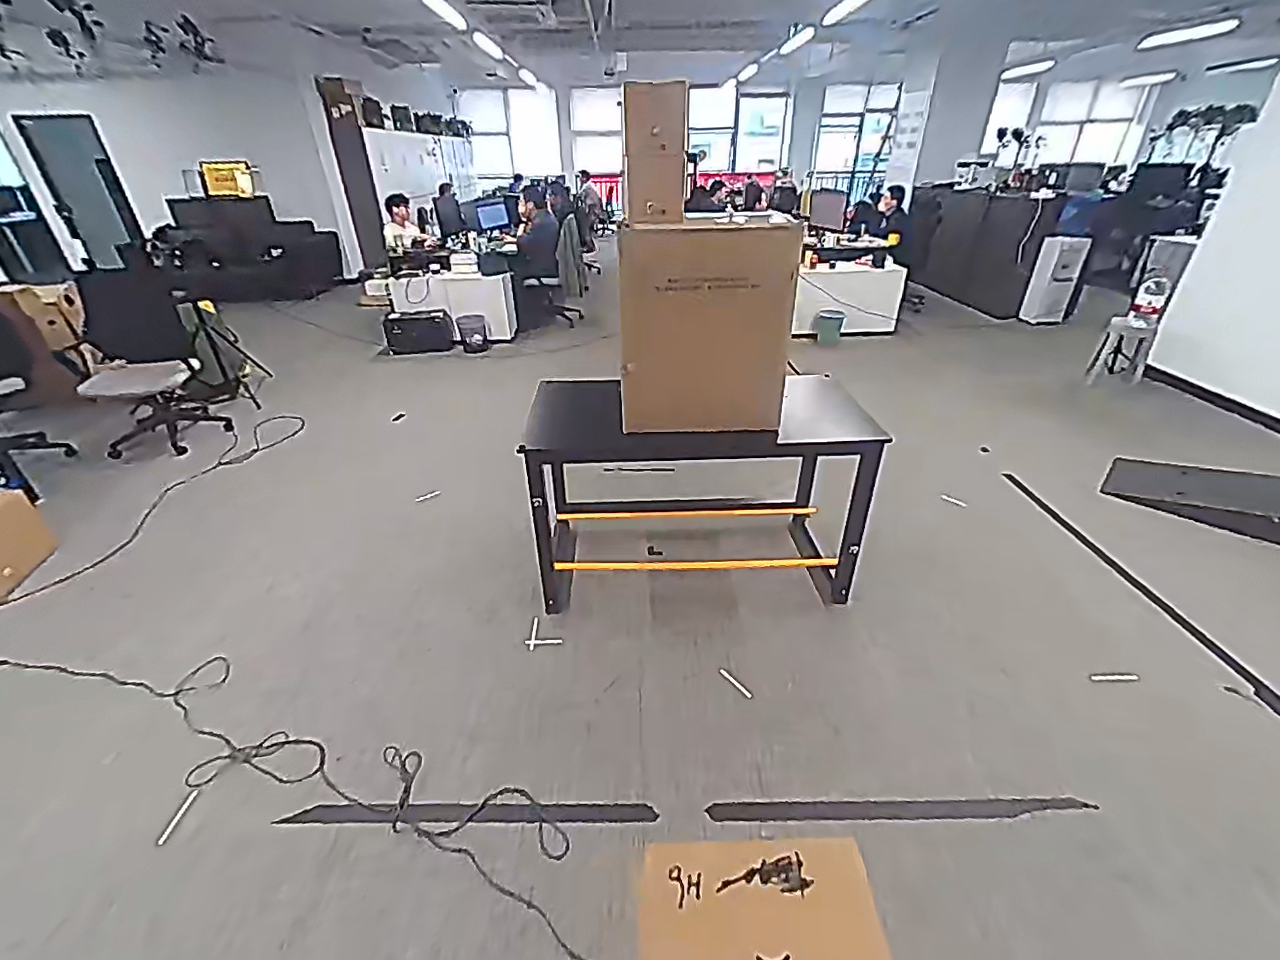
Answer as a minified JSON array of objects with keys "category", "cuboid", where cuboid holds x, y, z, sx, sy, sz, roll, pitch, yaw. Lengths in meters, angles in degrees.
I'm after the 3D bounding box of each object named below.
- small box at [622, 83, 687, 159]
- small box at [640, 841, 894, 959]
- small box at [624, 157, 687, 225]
[{"category":"small box","cuboid":[0.035,-0.994,1.505,0.168,0.176,0.179,-3,32,-3]},{"category":"small box","cuboid":[0.087,0.393,0.400,0.168,0.176,0.179,0,43,-4]},{"category":"small box","cuboid":[0.039,-0.854,1.594,0.168,0.176,0.179,-5,33,-5]}]
